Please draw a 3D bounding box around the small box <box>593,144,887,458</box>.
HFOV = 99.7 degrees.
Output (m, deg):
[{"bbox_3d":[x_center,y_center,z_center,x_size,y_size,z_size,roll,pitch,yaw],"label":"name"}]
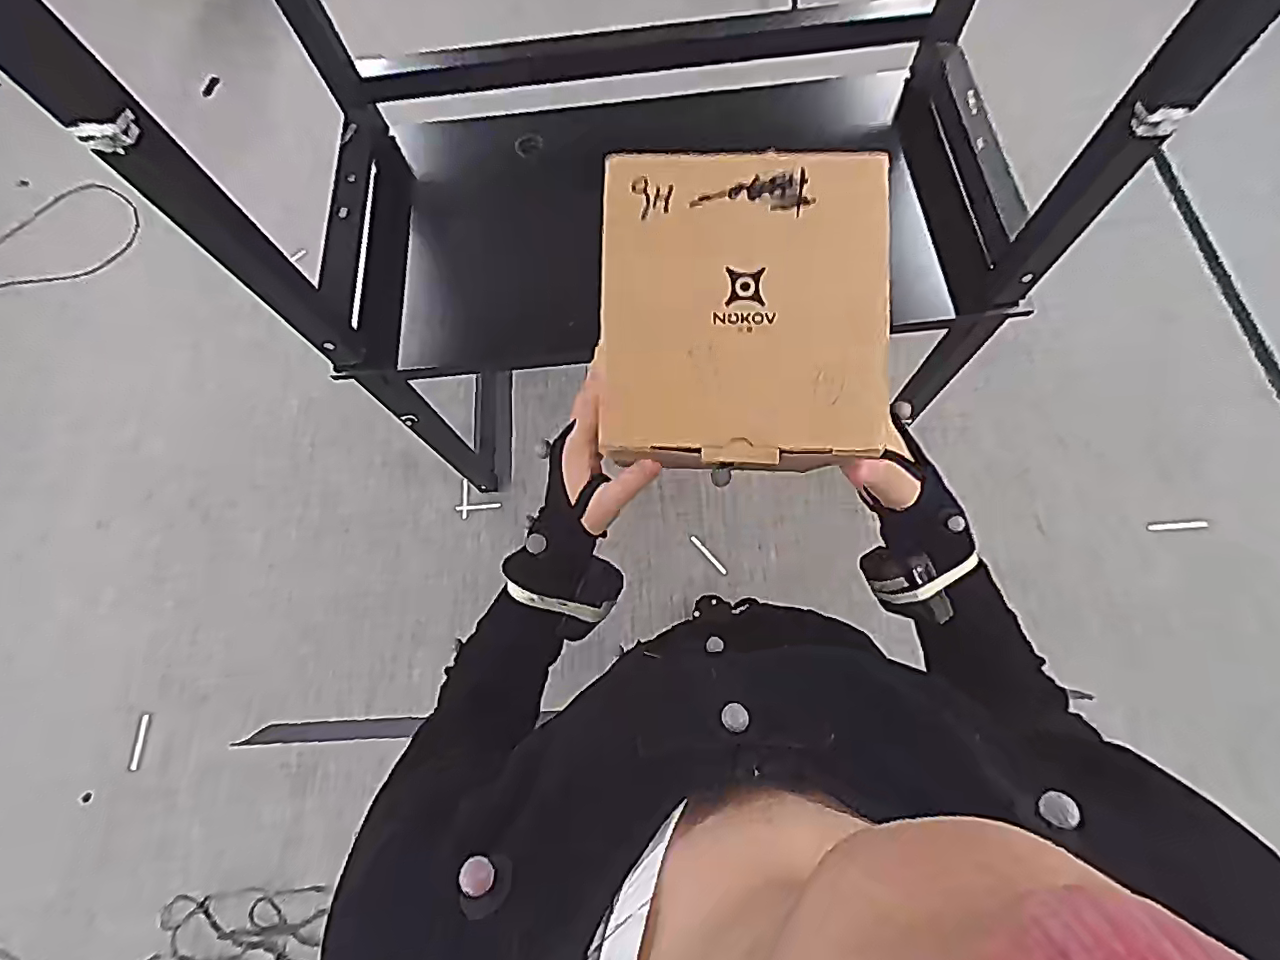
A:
[{"bbox_3d":[0.060,-0.106,0.391,0.168,0.176,0.179,1,89,2],"label":"small box"}]
